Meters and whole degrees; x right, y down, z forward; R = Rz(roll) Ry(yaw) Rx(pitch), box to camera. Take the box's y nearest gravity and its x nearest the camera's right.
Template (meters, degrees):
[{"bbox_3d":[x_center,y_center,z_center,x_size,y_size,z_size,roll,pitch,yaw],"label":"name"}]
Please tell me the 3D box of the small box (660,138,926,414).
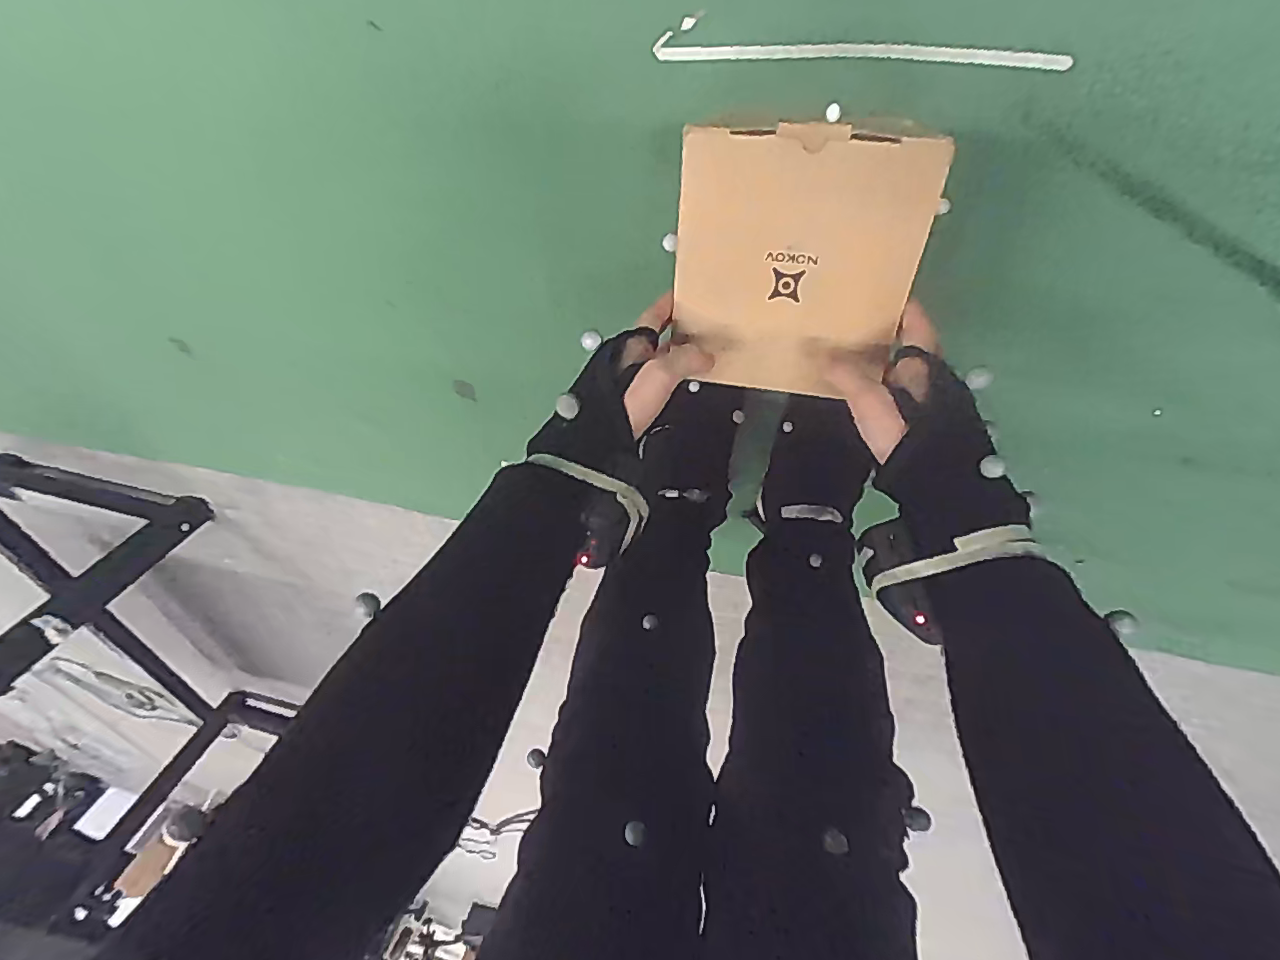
[{"bbox_3d":[0.115,-0.177,0.450,0.168,0.176,0.179,8,125,12],"label":"small box"}]
